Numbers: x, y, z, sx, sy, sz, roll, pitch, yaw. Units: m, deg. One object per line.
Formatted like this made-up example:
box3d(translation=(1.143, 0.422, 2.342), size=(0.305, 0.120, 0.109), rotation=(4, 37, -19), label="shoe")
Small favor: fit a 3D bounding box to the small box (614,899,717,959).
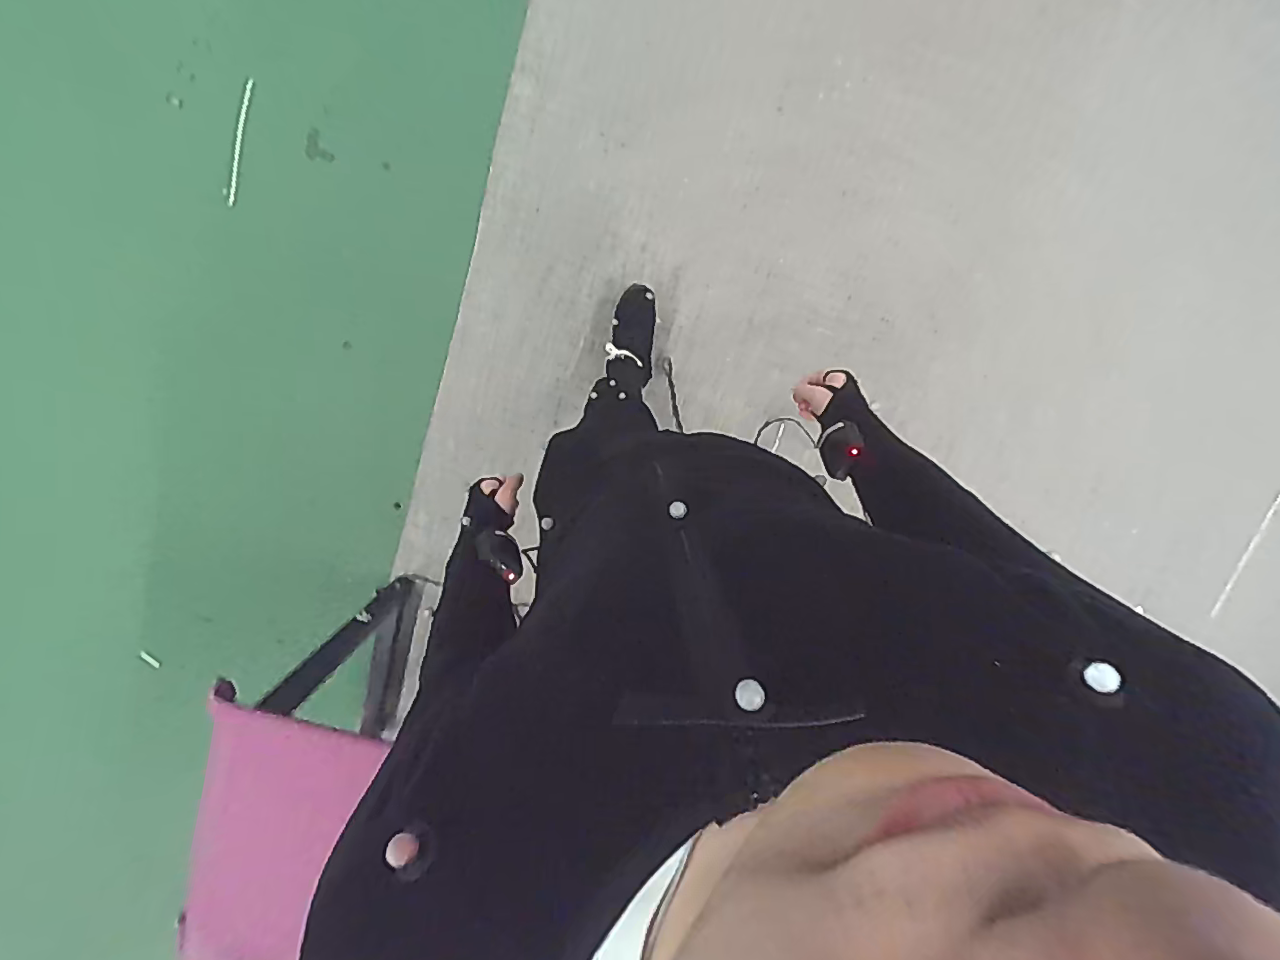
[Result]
box3d(translation=(0.044, 0.924, 0.985), size=(0.168, 0.176, 0.179), rotation=(16, 101, -4), label="small box")
